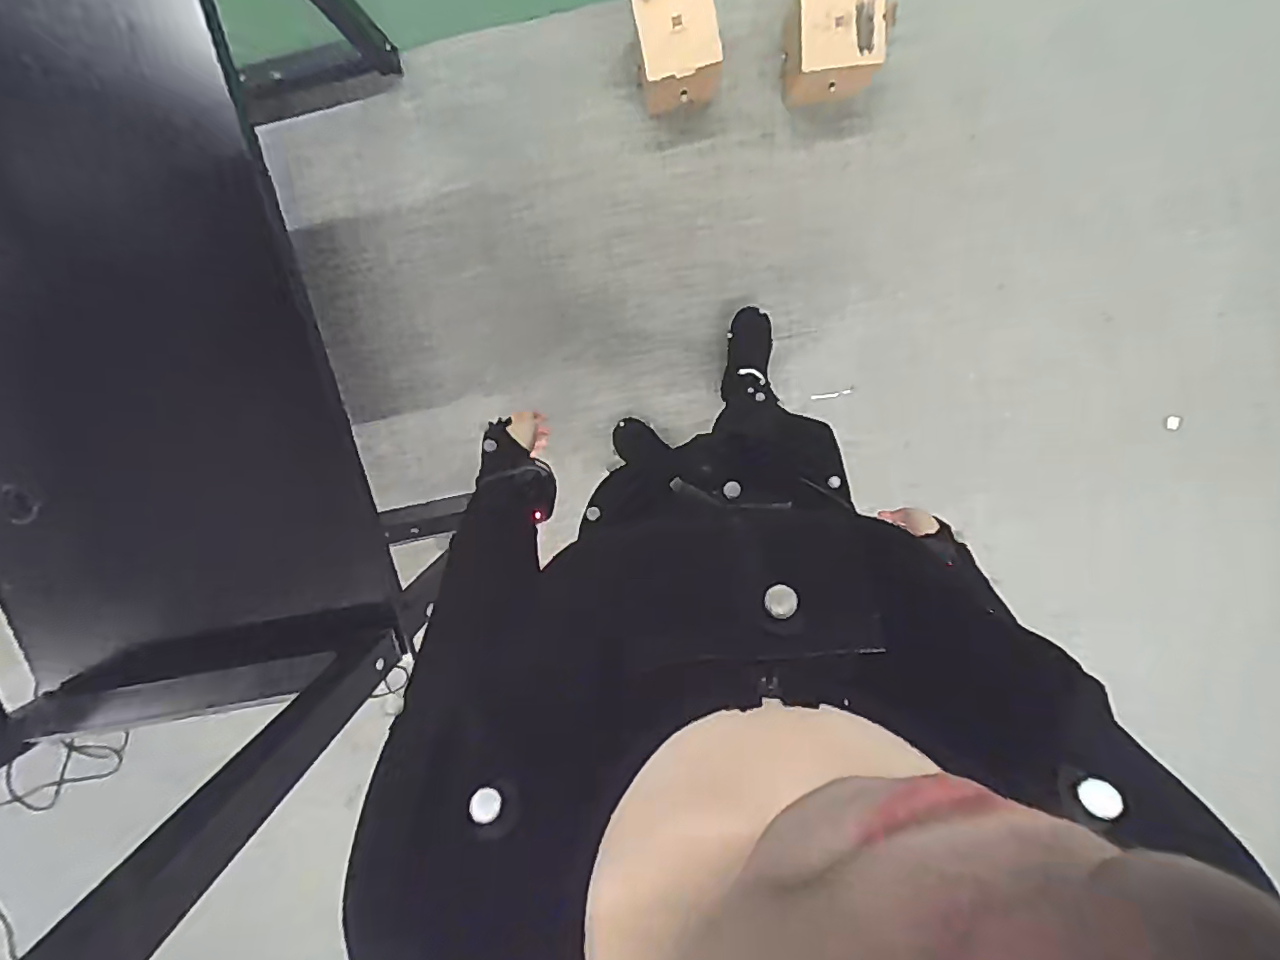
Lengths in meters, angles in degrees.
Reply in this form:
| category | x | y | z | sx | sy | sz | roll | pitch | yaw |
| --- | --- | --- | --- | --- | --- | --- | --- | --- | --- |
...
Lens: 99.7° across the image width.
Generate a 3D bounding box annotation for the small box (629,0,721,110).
| category | x | y | z | sx | sy | sz | roll | pitch | yaw |
| --- | --- | --- | --- | --- | --- | --- | --- | --- | --- |
| small box | 0.078 | -0.947 | 1.187 | 0.168 | 0.176 | 0.179 | -12 | 103 | 5 |
